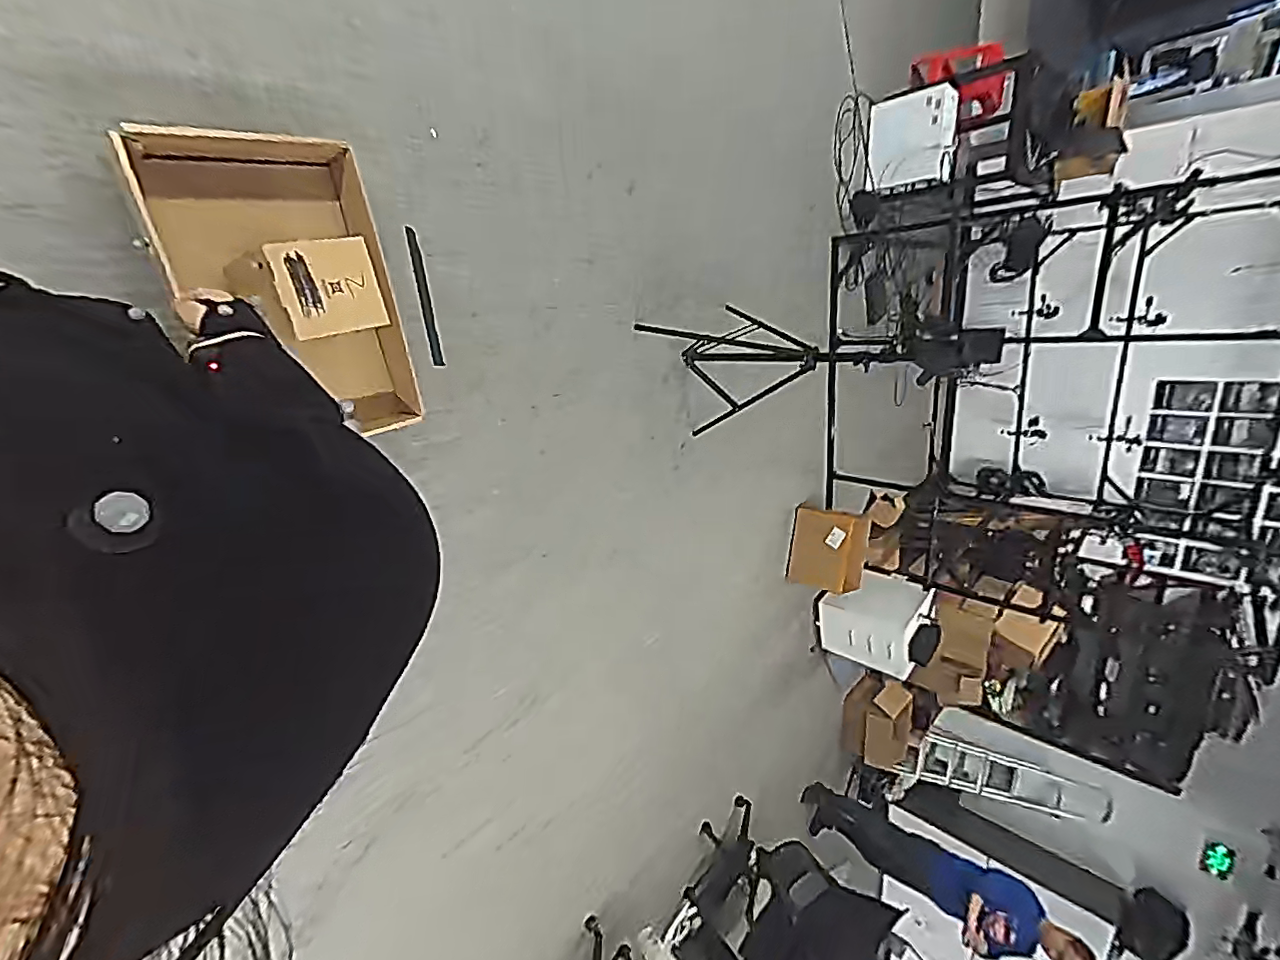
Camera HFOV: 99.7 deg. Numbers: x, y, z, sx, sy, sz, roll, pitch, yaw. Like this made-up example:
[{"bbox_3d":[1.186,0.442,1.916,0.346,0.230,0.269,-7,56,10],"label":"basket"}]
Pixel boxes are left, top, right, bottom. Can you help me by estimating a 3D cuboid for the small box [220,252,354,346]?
[{"bbox_3d":[-0.759,-0.389,1.164,0.179,0.176,0.168,-29,118,-40],"label":"small box"}]
